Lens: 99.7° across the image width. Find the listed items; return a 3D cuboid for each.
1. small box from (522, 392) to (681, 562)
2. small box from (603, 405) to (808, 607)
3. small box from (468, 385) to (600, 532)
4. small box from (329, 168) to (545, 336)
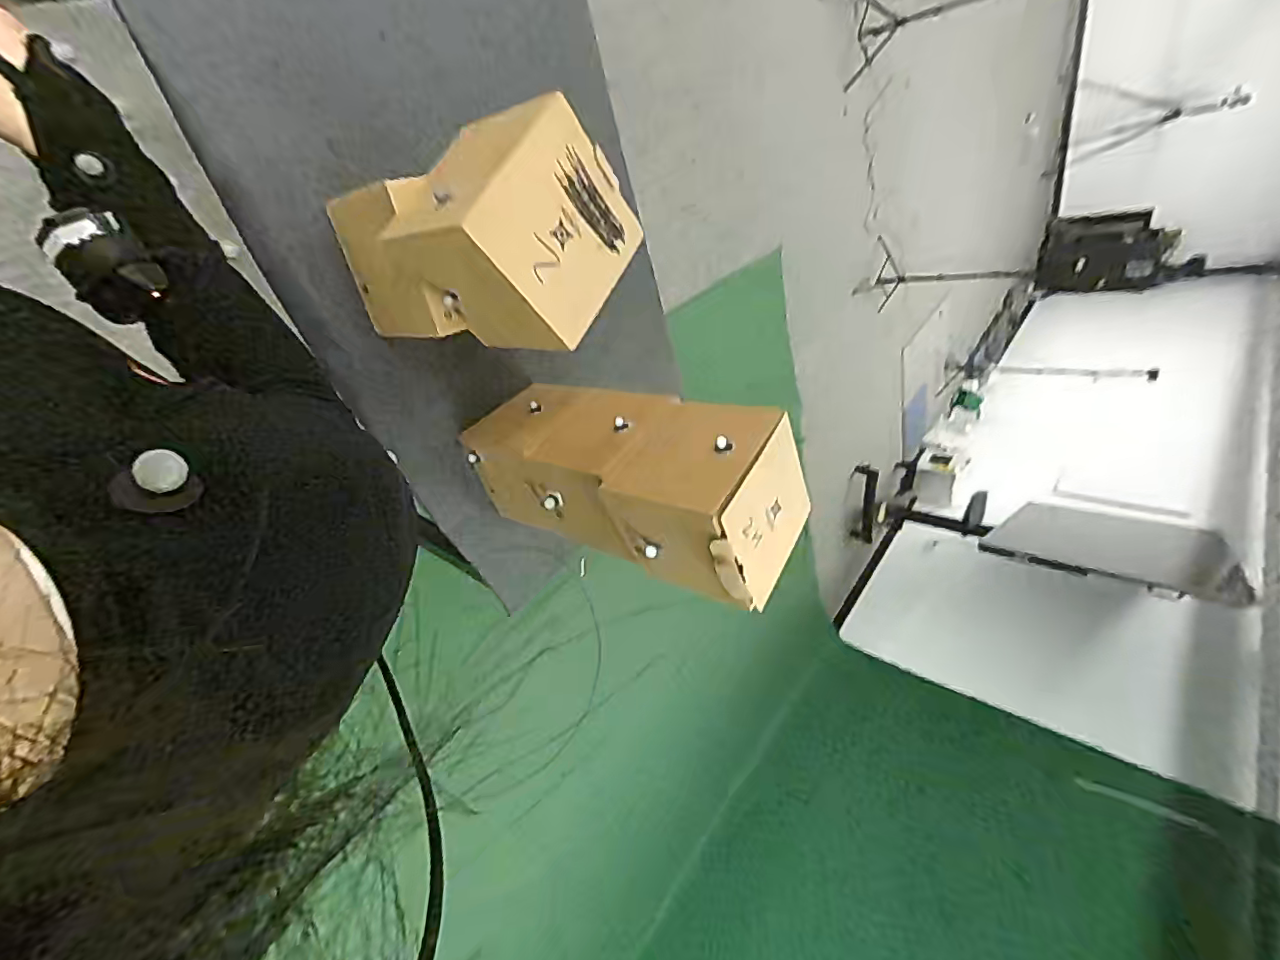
[{"bbox_3d":[-0.035,-0.014,0.782,0.179,0.176,0.168,-47,131,-30],"label":"small box"},{"bbox_3d":[0.085,0.021,0.673,0.179,0.176,0.168,-50,132,-29],"label":"small box"},{"bbox_3d":[-0.154,-0.044,0.888,0.179,0.176,0.168,-45,131,-34],"label":"small box"},{"bbox_3d":[-0.257,-0.293,0.699,0.179,0.176,0.168,-36,126,-39],"label":"small box"}]
